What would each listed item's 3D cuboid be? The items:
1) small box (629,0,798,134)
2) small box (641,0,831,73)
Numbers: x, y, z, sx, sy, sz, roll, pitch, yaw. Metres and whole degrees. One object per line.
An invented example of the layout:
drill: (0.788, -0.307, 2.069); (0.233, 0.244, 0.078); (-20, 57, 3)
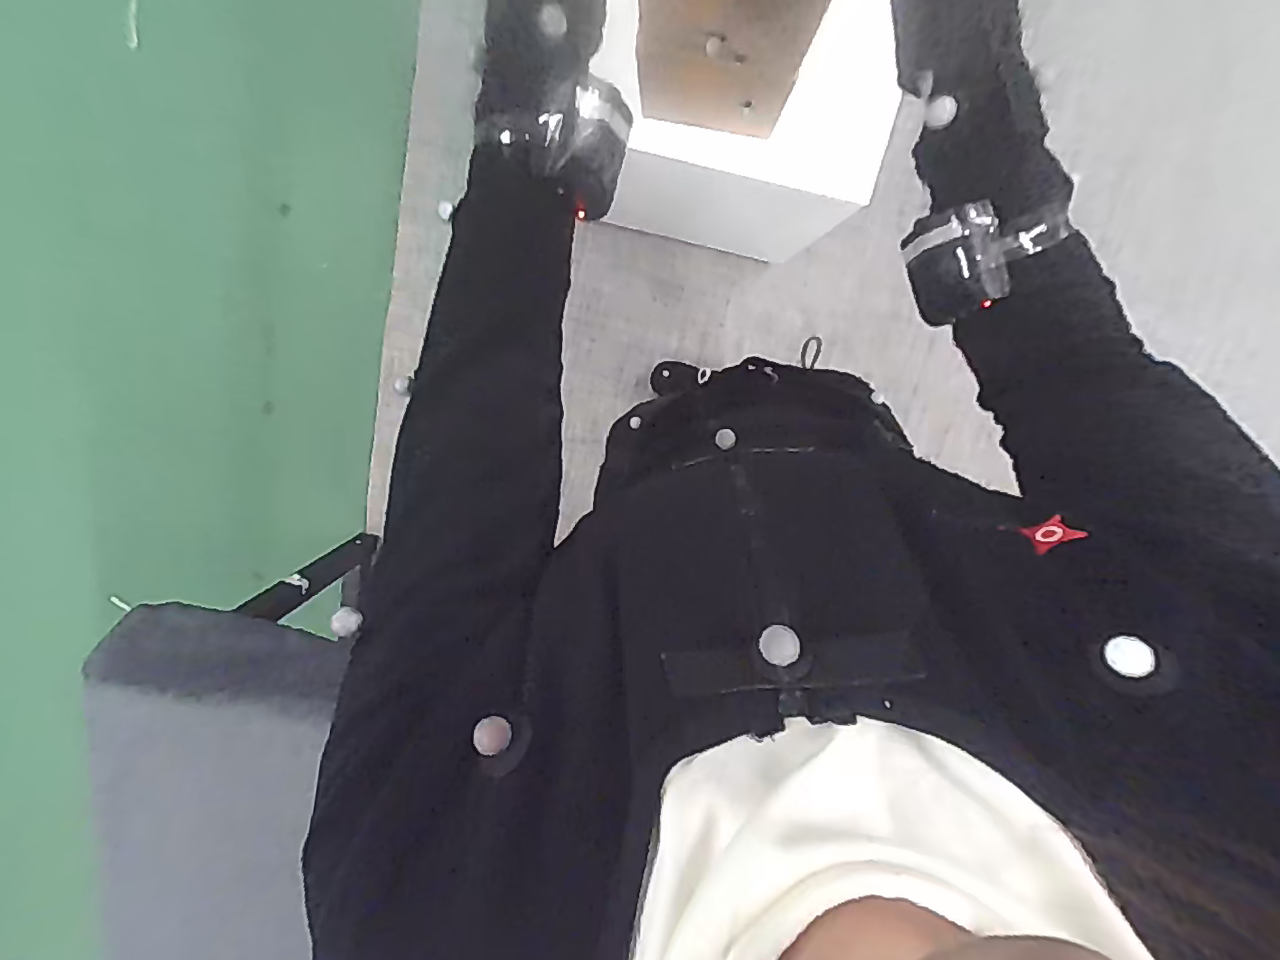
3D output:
small box: (0.093, -0.523, 0.615); (0.179, 0.176, 0.168); (11, 103, 2)
small box: (0.089, -0.492, 0.453); (0.168, 0.176, 0.179); (9, 101, 1)
